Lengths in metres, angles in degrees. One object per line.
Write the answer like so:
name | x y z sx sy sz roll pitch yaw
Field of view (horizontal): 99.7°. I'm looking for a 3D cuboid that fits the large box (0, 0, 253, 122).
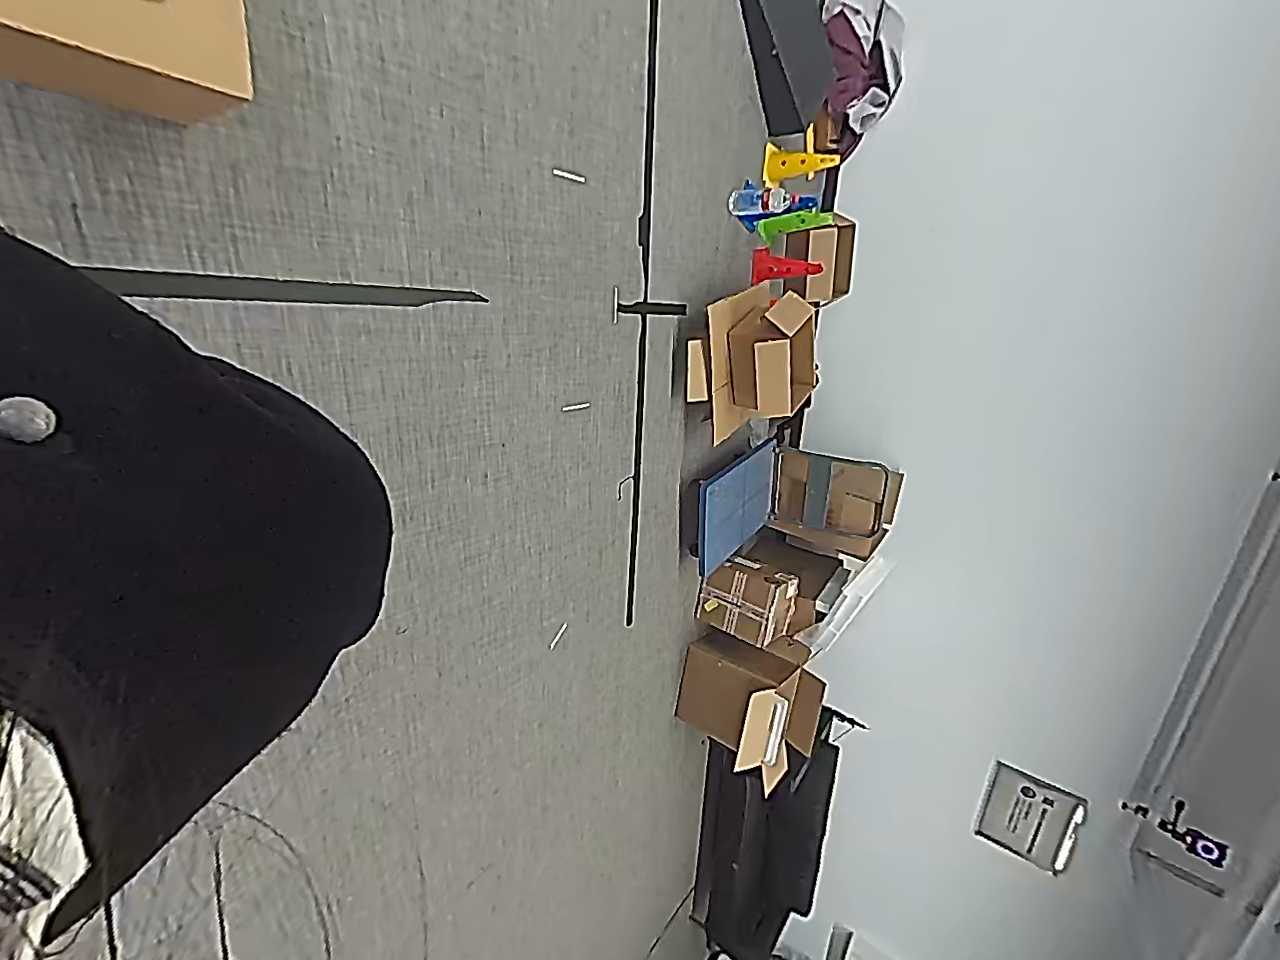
large box | -0.876 -0.777 0.789 0.408 0.320 0.320 -18 118 -52
